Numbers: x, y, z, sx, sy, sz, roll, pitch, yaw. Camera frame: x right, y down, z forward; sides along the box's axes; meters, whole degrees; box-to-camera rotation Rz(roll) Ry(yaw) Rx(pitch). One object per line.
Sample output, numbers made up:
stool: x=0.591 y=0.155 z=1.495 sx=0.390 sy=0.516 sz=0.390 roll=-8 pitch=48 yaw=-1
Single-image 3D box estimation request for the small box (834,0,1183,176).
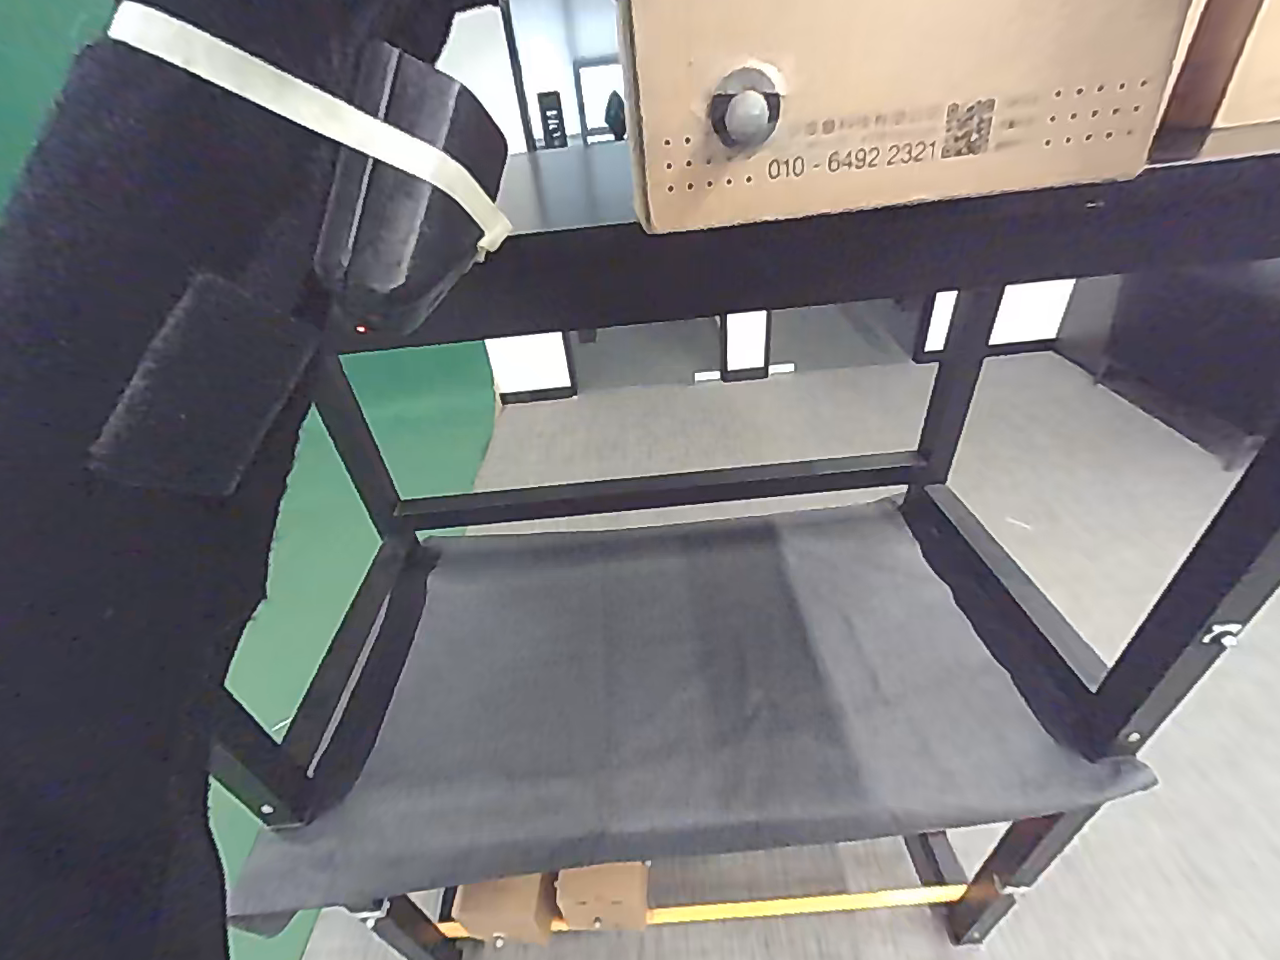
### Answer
small box: x=0.261 y=-0.339 z=0.414 sx=0.168 sy=0.176 sz=0.179 roll=-6 pitch=35 yaw=1
